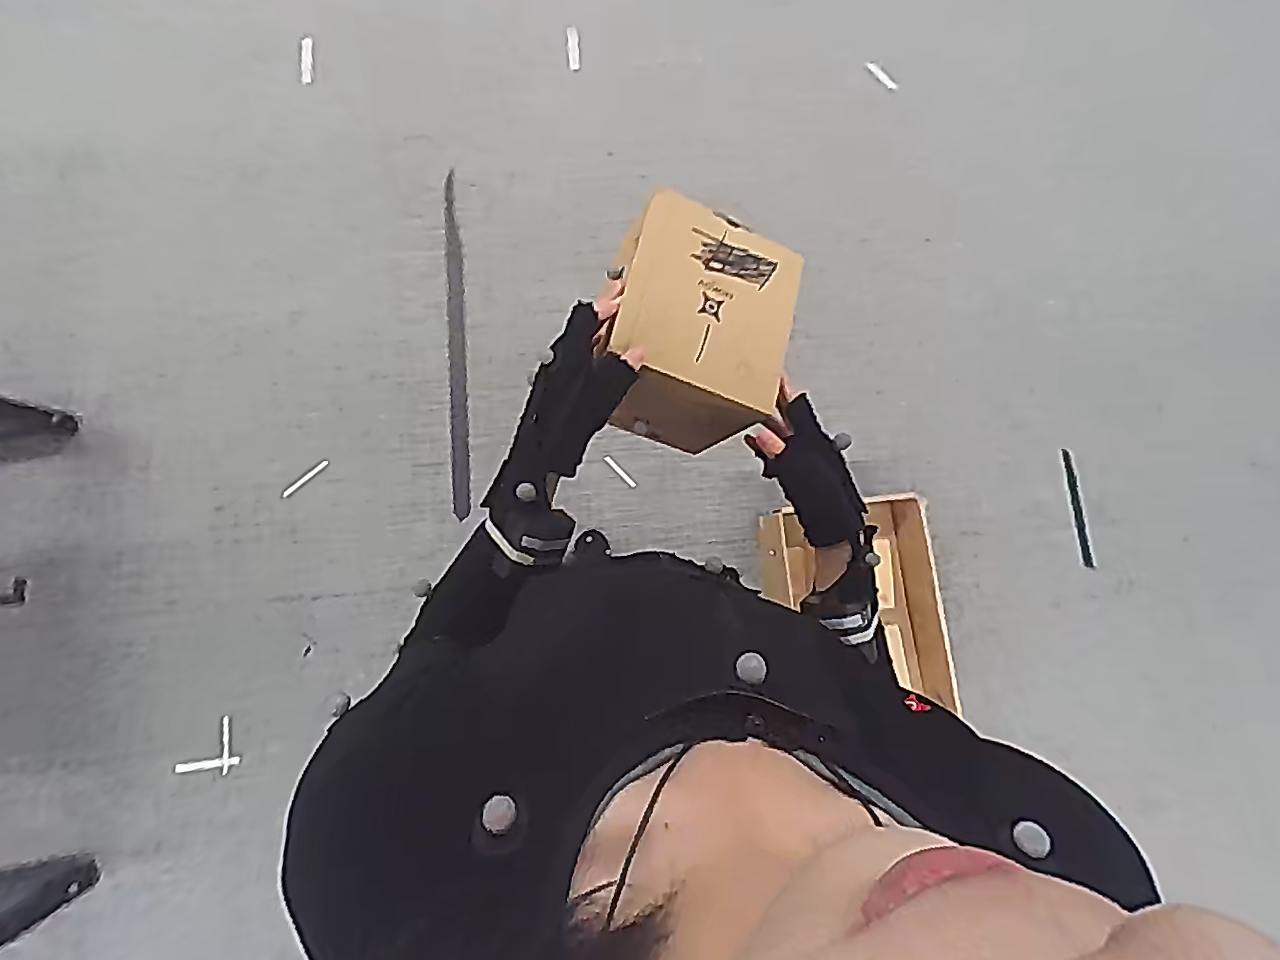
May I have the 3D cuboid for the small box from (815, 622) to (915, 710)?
[{"bbox_3d":[0.576,0.476,1.405,0.168,0.176,0.179,-8,81,-6],"label":"small box"}]

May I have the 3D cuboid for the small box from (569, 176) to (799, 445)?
[{"bbox_3d":[0.037,-0.156,0.559,0.168,0.176,0.179,18,74,-16],"label":"small box"}]

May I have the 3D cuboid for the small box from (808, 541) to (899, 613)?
[{"bbox_3d":[0.556,0.254,1.431,0.168,0.176,0.179,-1,83,-4],"label":"small box"}]
